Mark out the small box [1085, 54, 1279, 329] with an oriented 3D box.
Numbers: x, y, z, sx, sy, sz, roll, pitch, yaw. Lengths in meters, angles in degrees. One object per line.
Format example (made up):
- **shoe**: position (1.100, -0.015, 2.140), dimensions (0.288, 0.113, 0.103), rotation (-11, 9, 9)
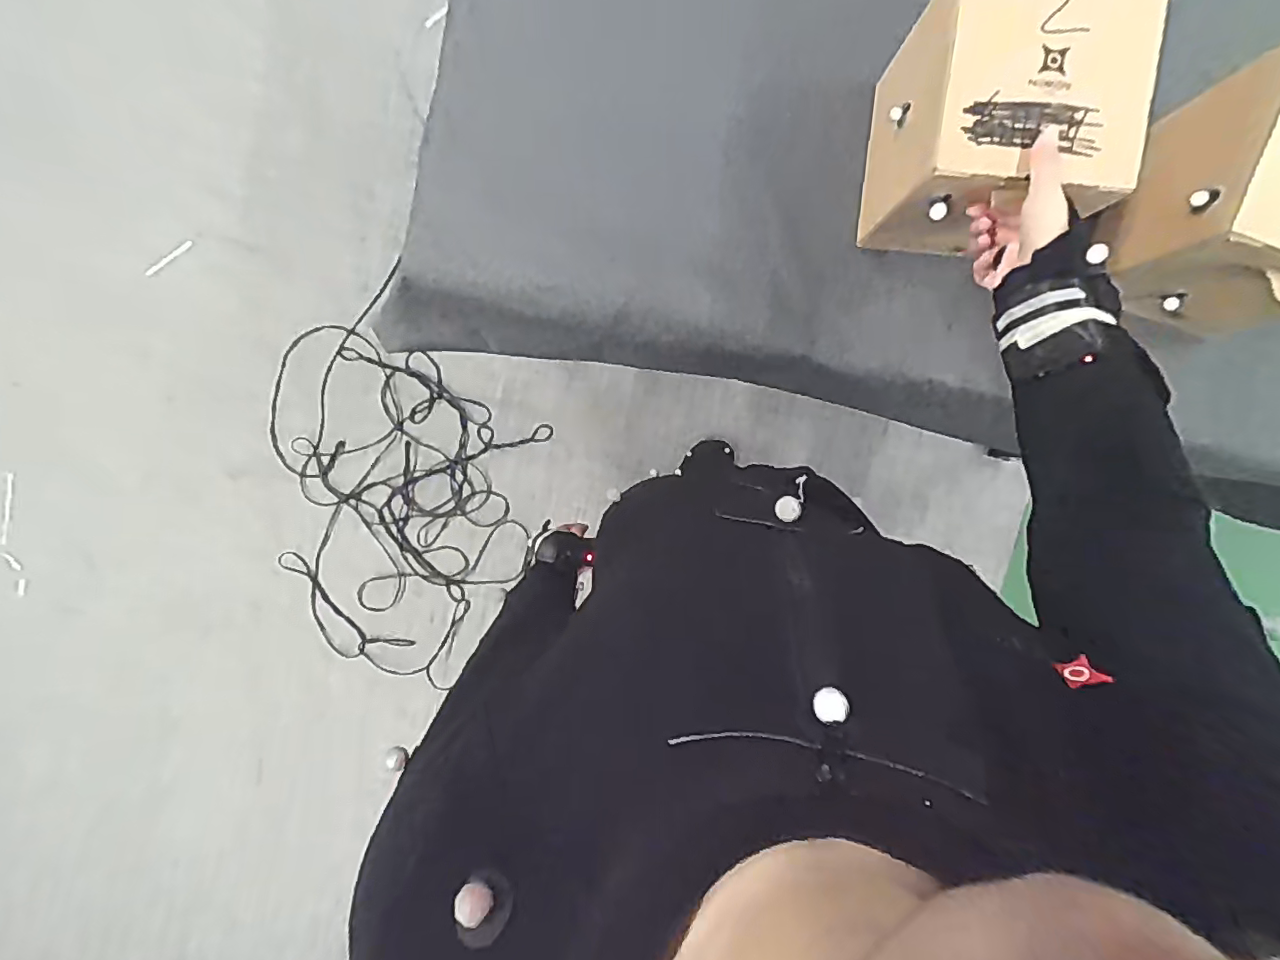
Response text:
- **small box**: position (0.584, -0.265, 0.513), dimensions (0.168, 0.176, 0.179), rotation (19, 95, -1)
